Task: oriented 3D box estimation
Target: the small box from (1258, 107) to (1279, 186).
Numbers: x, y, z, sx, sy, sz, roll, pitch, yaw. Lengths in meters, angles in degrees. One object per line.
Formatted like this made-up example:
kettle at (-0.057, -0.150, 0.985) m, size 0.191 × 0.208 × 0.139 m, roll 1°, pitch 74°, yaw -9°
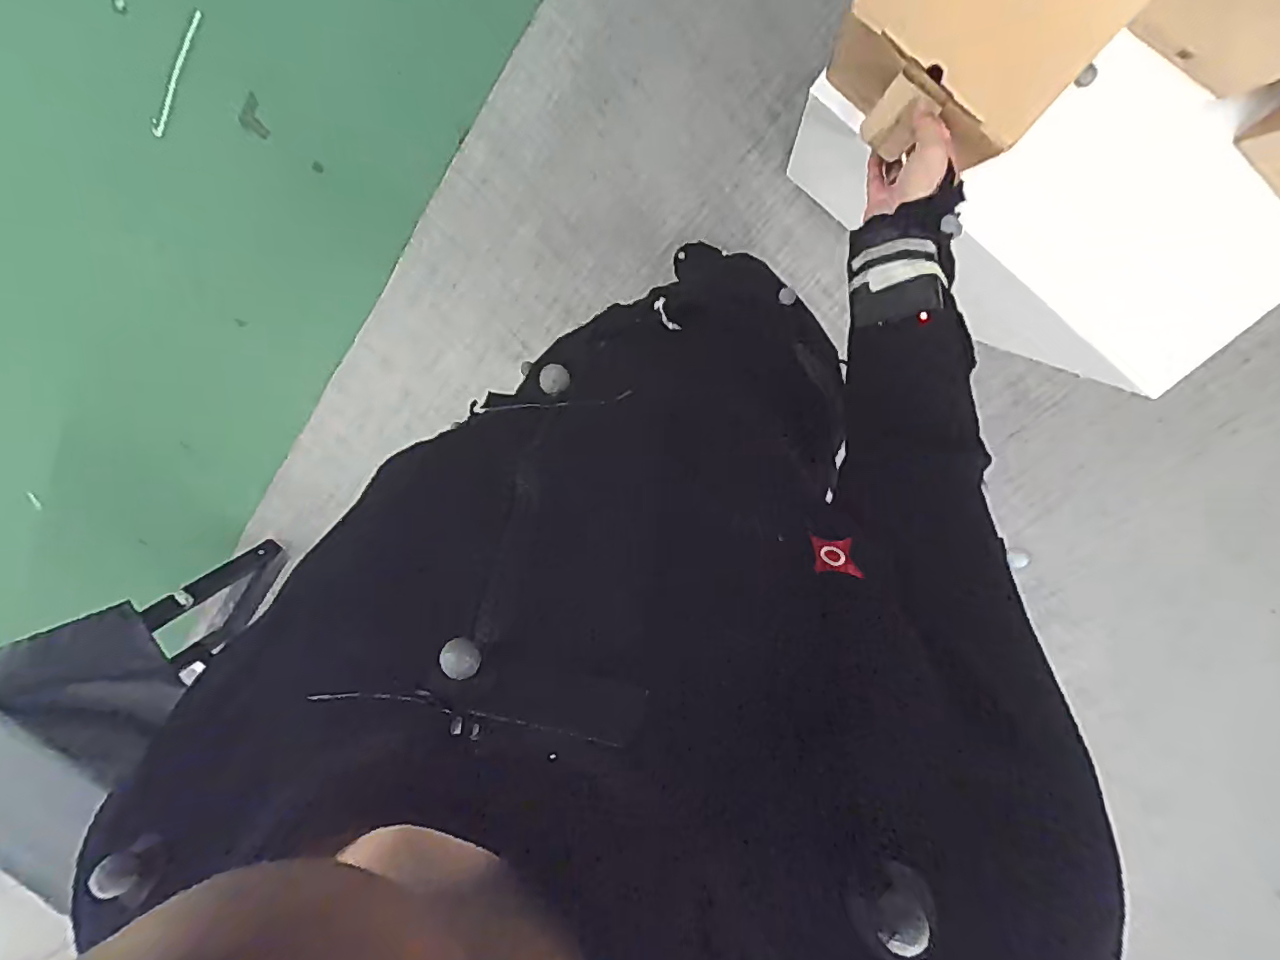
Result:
small box at (0.656, -0.288, 0.412) m, size 0.168 × 0.176 × 0.179 m, roll 42°, pitch 113°, yaw -7°

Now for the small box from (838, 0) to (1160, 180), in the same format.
small box at (0.291, -0.389, 0.450) m, size 0.168 × 0.176 × 0.179 m, roll 39°, pitch 113°, yaw -5°
